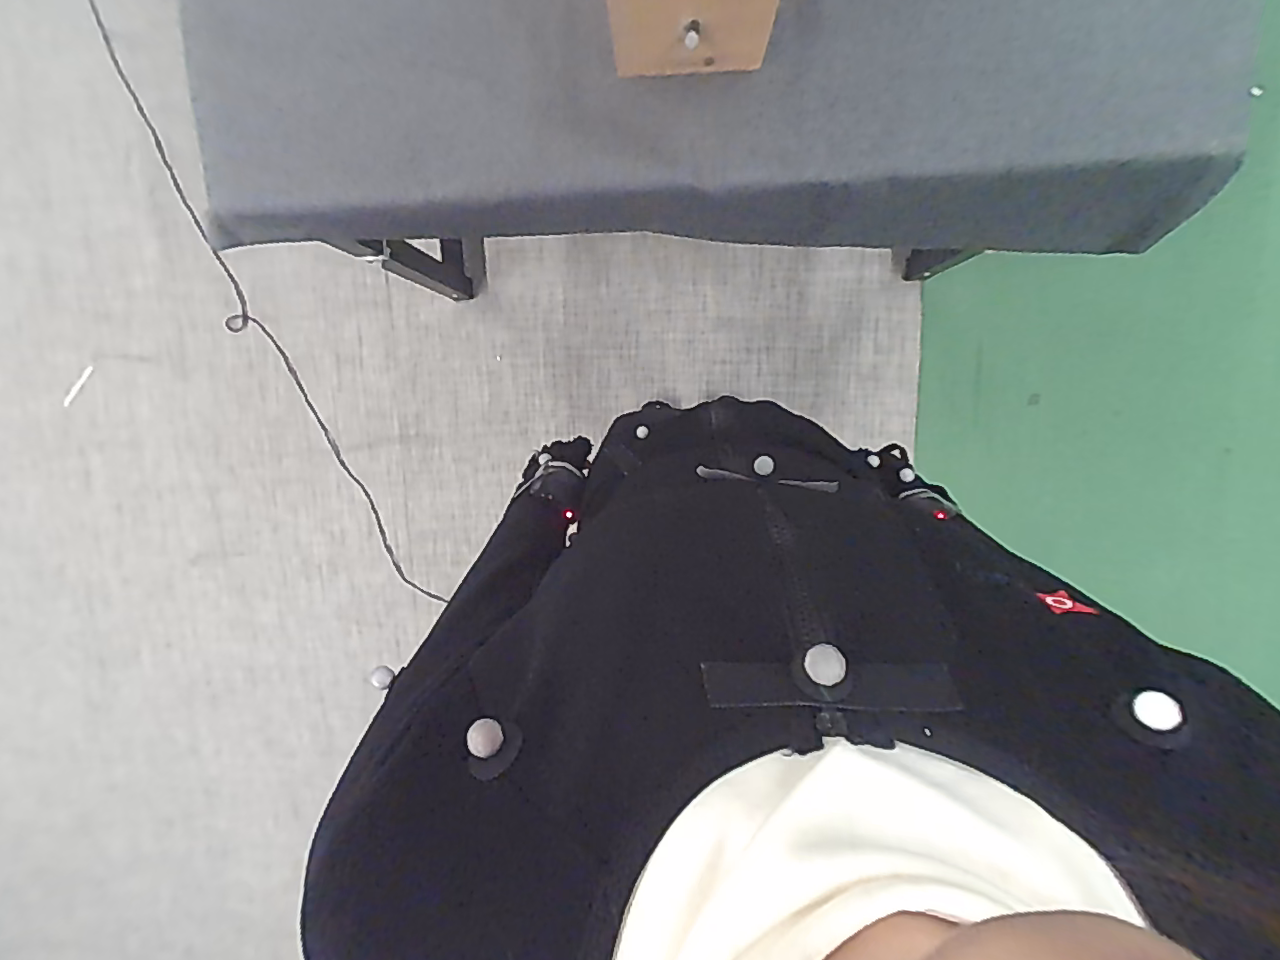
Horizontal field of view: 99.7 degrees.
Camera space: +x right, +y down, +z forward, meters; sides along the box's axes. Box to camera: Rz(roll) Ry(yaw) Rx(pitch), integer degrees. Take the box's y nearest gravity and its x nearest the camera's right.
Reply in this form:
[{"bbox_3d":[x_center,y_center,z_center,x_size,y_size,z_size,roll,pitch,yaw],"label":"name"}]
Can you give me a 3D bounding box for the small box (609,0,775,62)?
[{"bbox_3d":[0.051,-0.545,0.527,0.168,0.176,0.179,-2,99,4],"label":"small box"}]
